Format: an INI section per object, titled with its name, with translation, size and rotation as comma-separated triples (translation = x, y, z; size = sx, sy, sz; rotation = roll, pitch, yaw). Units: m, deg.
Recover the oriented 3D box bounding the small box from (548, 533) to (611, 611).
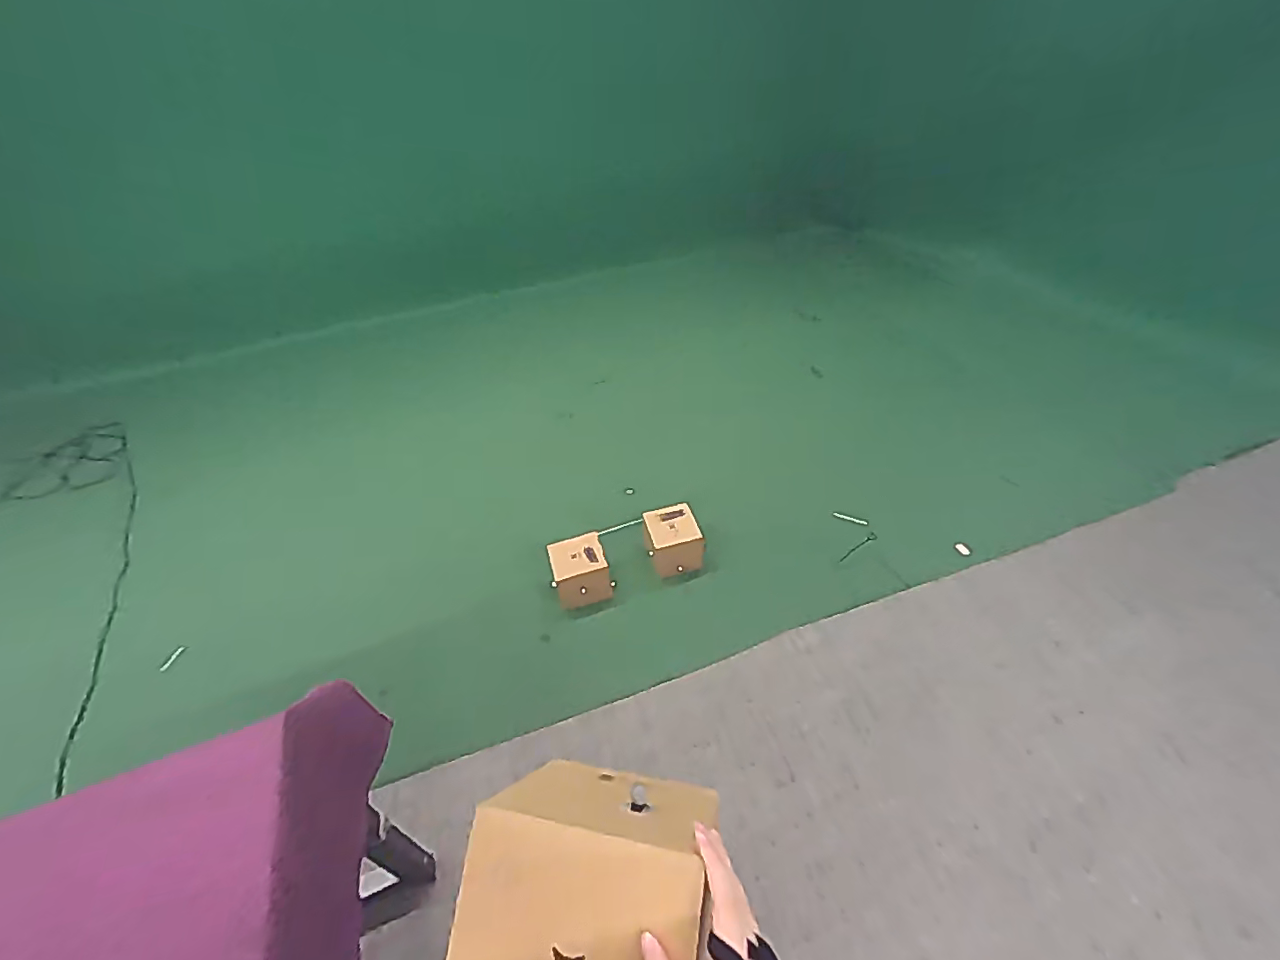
[small box]
translation = -0.200, 0.314, 1.835
size = 0.179, 0.176, 0.168
rotation = -16, 42, -9
